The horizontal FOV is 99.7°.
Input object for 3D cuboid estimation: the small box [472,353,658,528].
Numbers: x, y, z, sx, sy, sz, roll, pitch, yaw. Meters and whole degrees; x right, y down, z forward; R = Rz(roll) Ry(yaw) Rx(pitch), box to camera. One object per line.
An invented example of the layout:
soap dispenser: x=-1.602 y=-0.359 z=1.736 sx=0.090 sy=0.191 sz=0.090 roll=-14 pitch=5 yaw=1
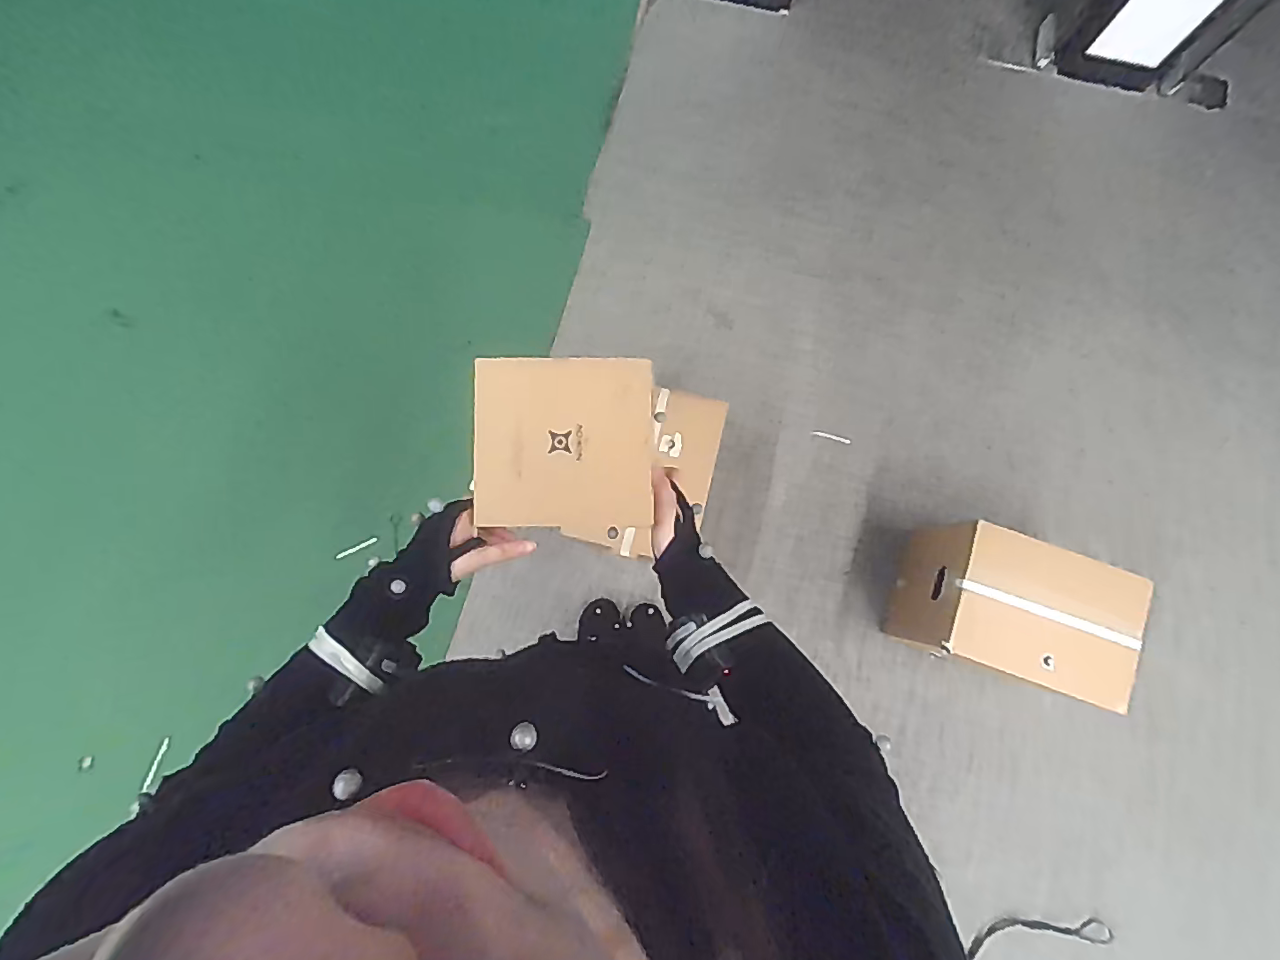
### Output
small box: x=-0.073 y=-0.036 z=0.600 sx=0.179 sy=0.176 sz=0.168 roll=1 pitch=87 yaw=0

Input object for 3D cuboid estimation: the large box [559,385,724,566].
large box: x=0.009 y=-0.009 z=1.410 sx=0.320 sy=0.320 sz=0.408 roll=15 pitch=79 yaw=2
